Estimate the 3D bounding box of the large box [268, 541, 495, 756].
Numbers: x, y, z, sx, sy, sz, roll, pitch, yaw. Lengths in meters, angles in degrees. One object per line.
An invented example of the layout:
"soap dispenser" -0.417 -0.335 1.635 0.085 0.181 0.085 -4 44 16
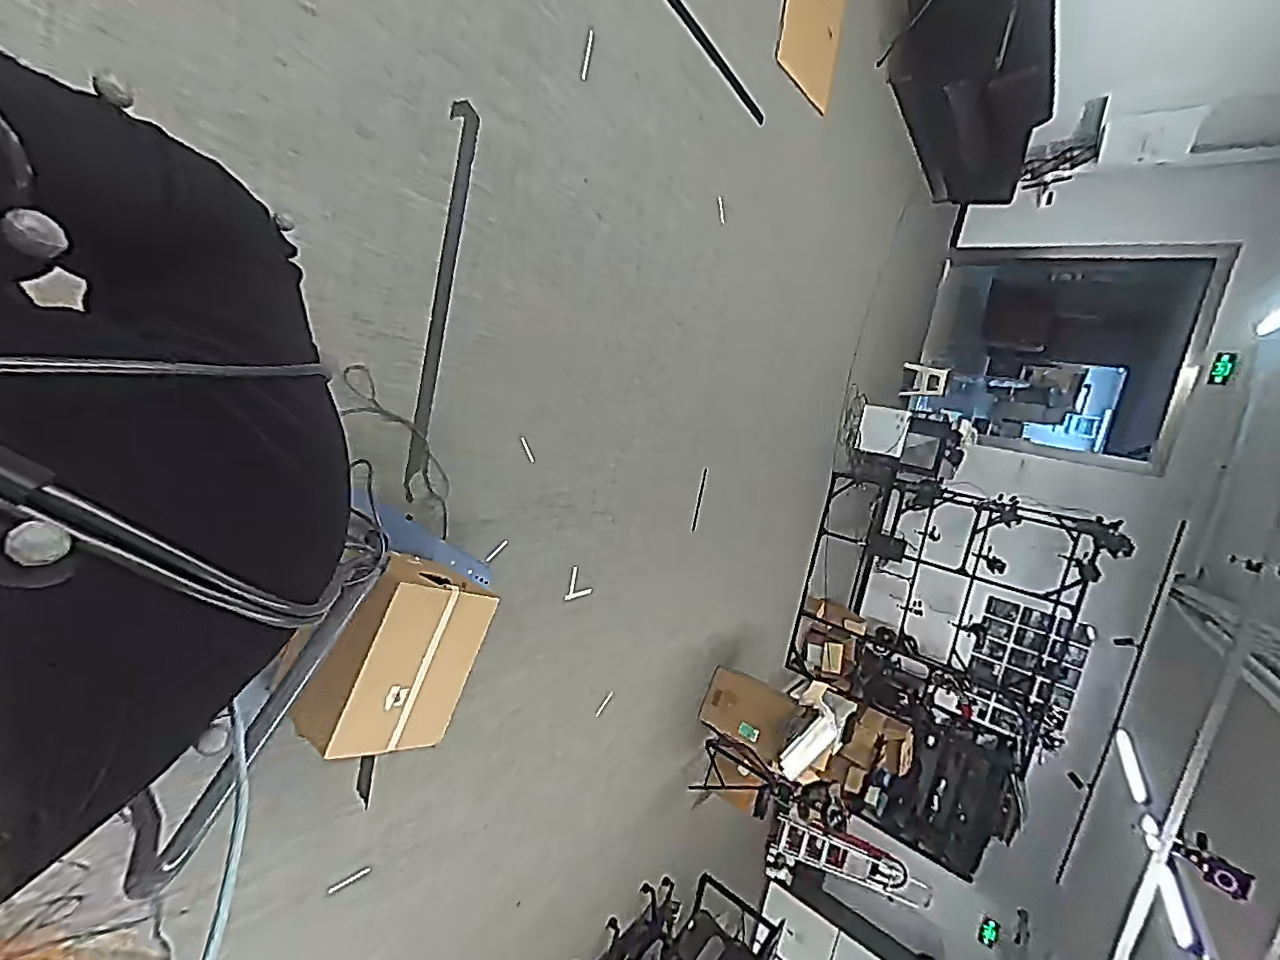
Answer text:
"large box" -0.644 0.408 1.368 0.320 0.320 0.408 31 79 -54
